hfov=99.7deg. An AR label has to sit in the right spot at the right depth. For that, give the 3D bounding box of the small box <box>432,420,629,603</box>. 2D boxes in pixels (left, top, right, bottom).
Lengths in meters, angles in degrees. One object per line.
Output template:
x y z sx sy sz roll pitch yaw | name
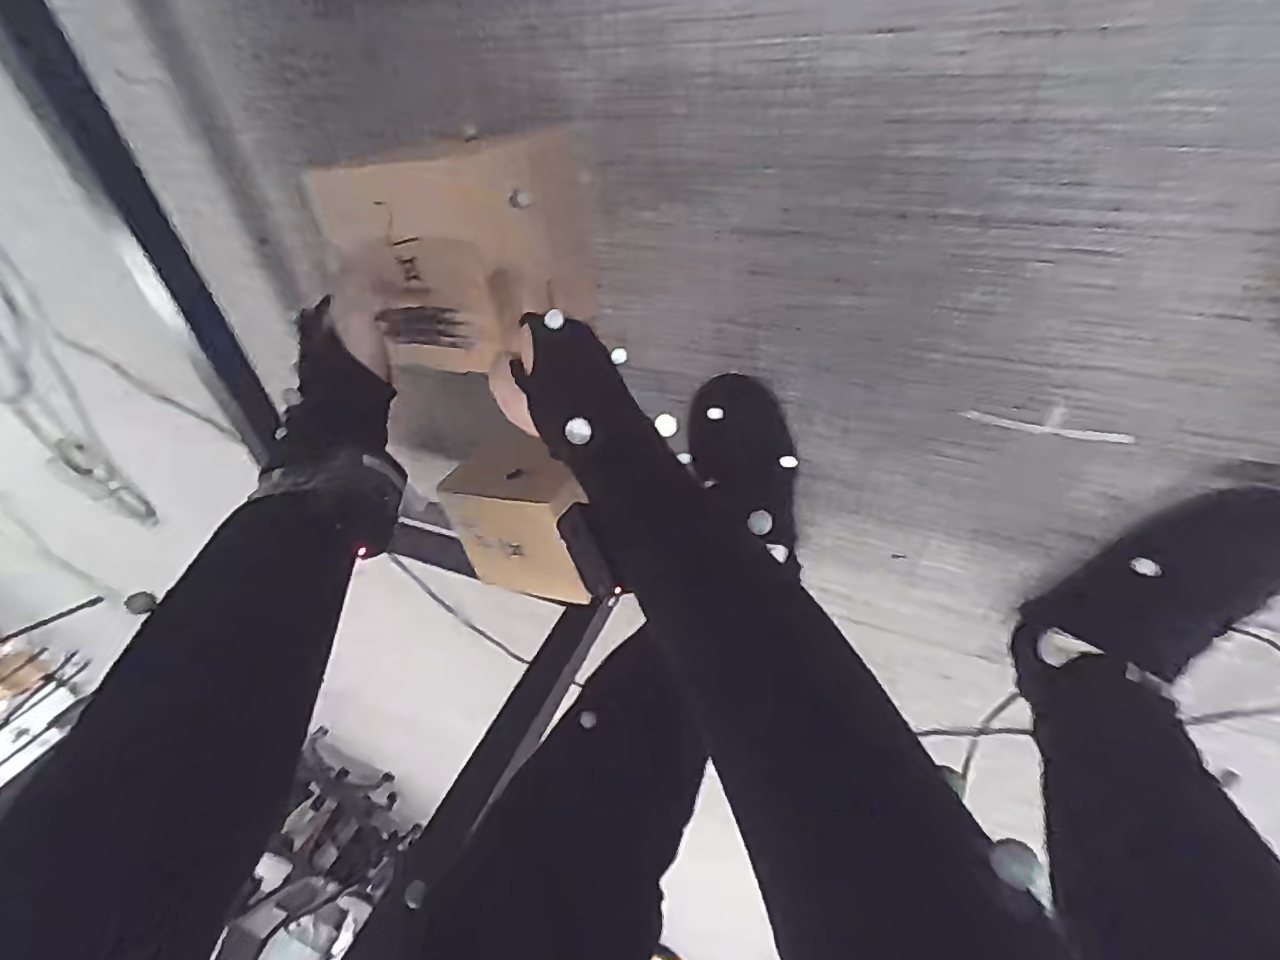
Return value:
-0.126 0.032 0.711 0.179 0.176 0.168 5 128 25 | small box
